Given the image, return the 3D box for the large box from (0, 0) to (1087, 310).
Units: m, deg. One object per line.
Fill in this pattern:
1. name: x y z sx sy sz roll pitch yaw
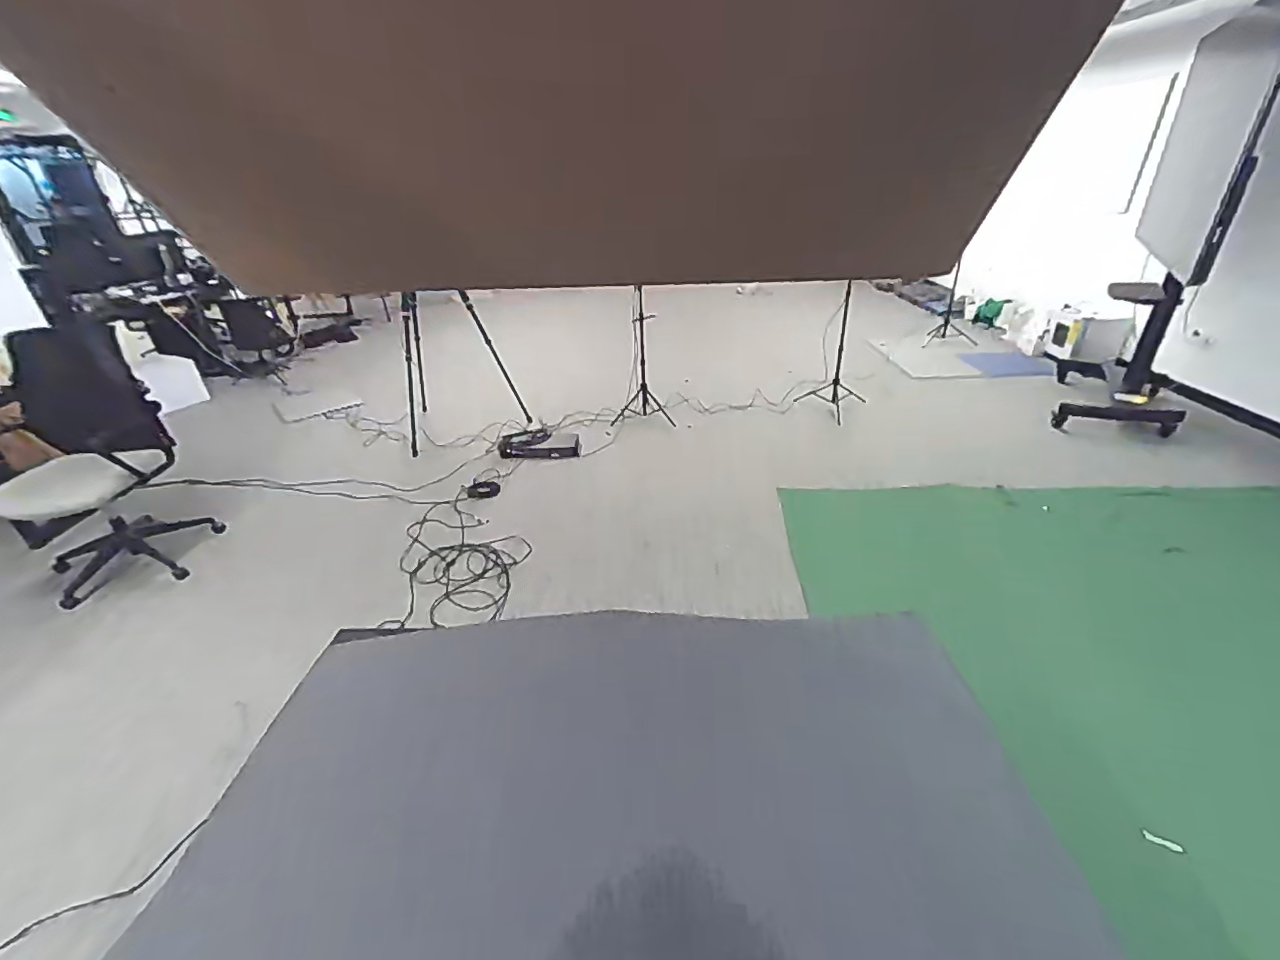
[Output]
1. large box: -0.044 -0.301 0.238 0.408 0.320 0.320 -1 69 2
